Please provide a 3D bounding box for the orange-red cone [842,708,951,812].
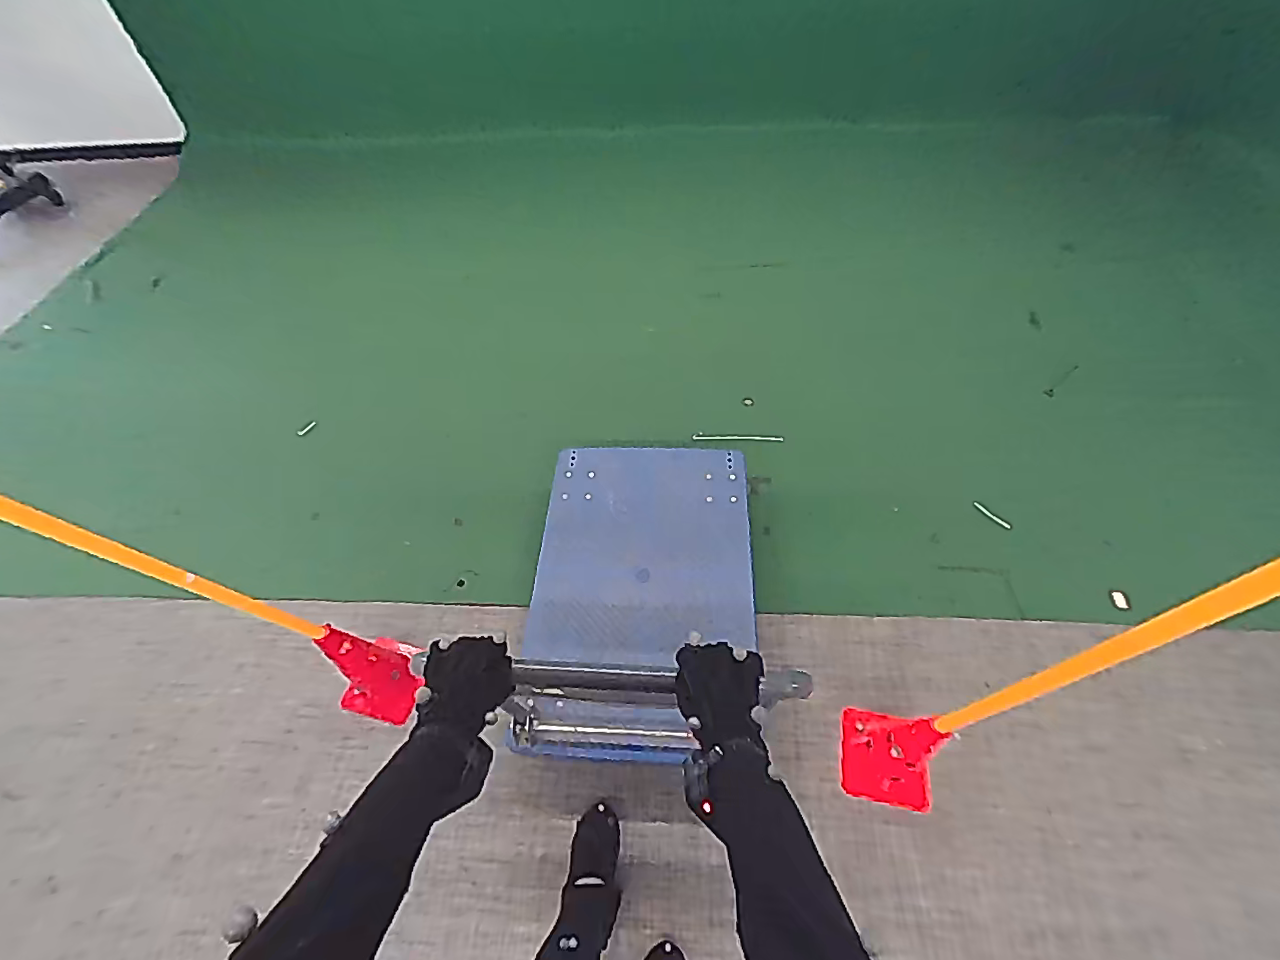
[{"bbox_3d":[0.580,0.567,1.159,0.198,0.360,0.199,9,56,11],"label":"orange-red cone"}]
